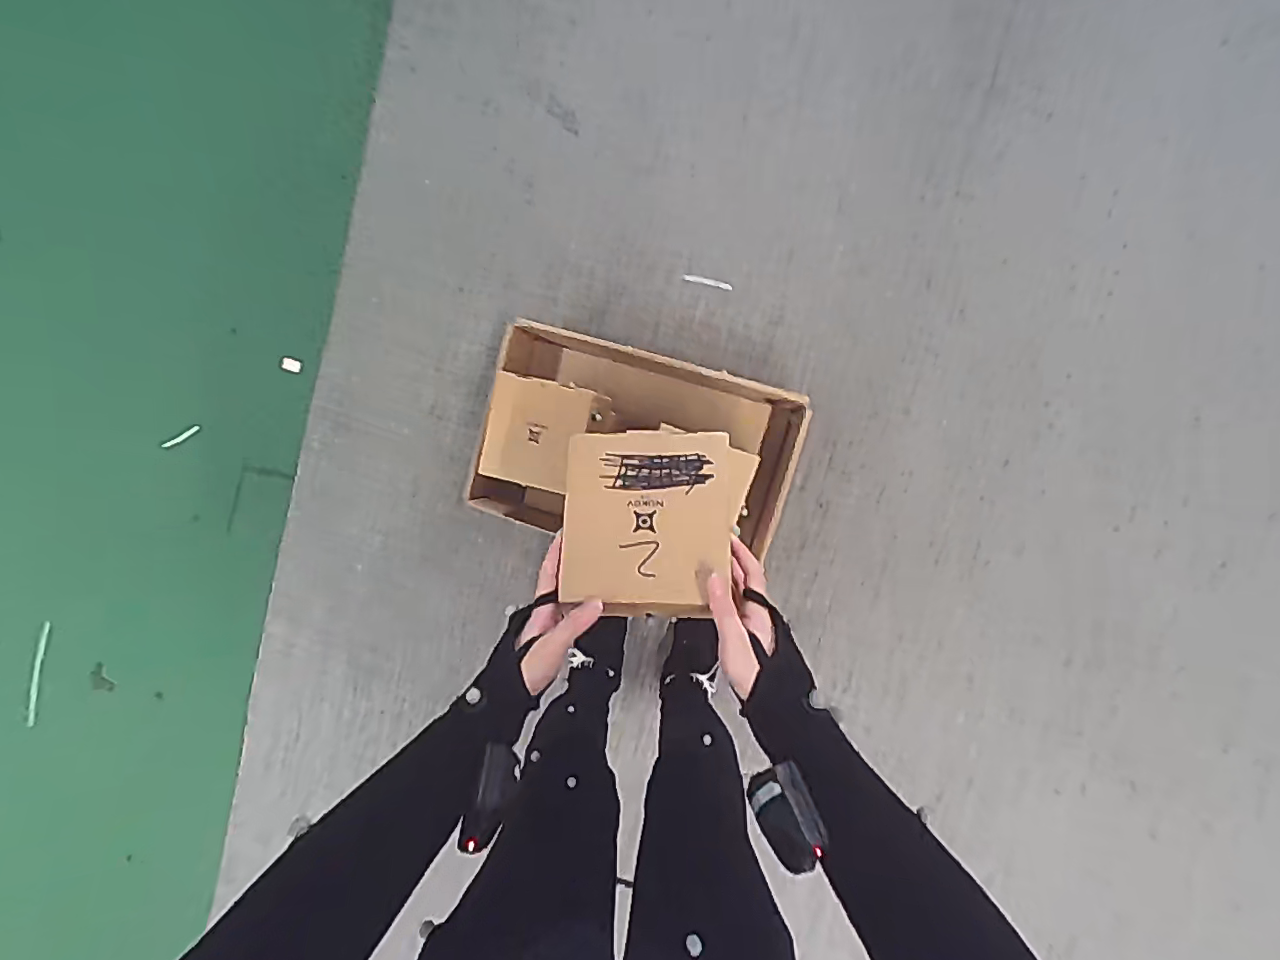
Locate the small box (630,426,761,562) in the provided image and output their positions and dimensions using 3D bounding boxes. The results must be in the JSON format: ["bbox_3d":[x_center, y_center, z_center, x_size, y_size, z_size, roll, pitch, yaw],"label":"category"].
[{"bbox_3d":[0.098,0.017,0.935,0.168,0.176,0.179,20,96,6],"label":"small box"}]

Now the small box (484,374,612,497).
[{"bbox_3d":[-0.156,-0.078,0.969,0.168,0.176,0.179,13,95,7],"label":"small box"}]
